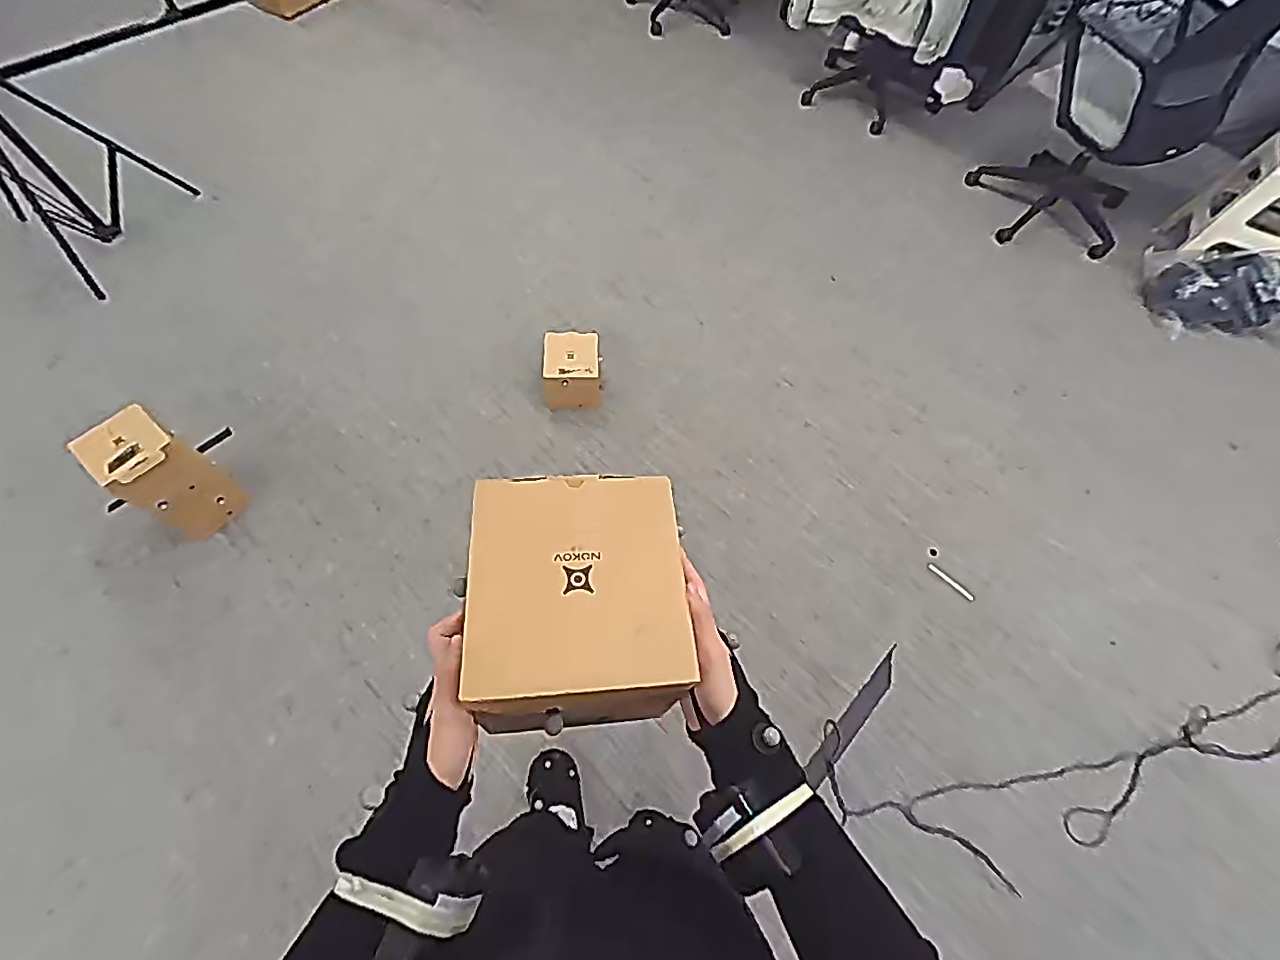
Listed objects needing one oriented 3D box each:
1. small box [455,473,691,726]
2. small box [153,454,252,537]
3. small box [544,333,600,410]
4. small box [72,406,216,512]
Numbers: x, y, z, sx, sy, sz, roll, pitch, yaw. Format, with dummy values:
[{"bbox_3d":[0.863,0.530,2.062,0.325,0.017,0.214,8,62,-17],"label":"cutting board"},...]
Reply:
[{"bbox_3d":[-0.059,0.112,0.480,0.168,0.176,0.179,-2,58,-9],"label":"small box"},{"bbox_3d":[-1.221,0.036,1.481,0.179,0.176,0.168,36,66,16],"label":"small box"},{"bbox_3d":[-0.213,-0.342,1.717,0.168,0.176,0.179,-1,63,-4],"label":"small box"},{"bbox_3d":[-1.211,-0.043,1.337,0.179,0.176,0.168,37,67,16],"label":"small box"}]
